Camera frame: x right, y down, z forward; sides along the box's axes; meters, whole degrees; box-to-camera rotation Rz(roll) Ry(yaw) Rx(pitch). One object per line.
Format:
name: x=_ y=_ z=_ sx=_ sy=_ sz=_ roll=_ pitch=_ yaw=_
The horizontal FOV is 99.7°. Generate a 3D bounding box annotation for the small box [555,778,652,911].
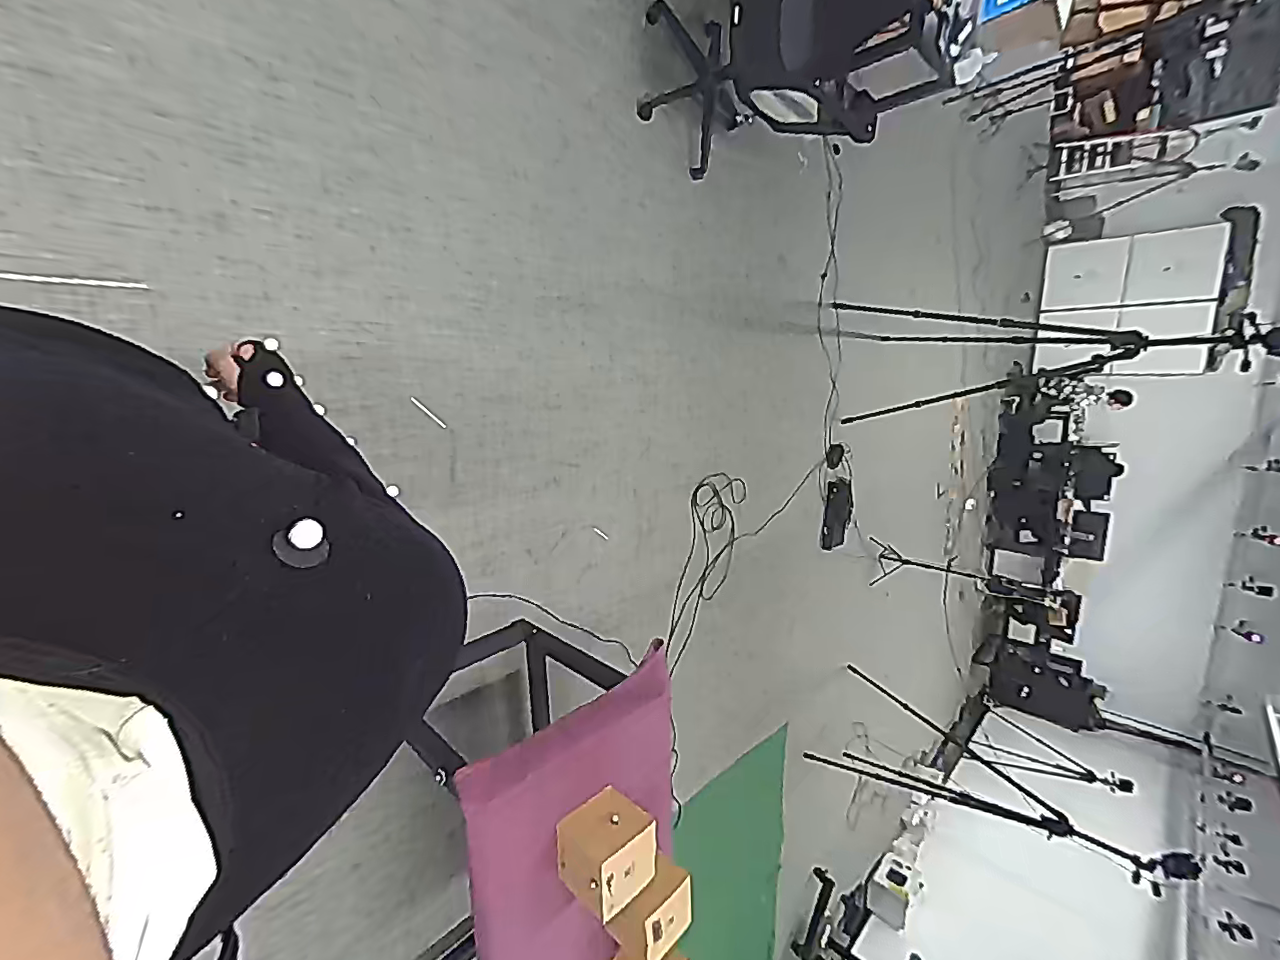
small box: x=-0.090 y=0.878 z=1.324 sx=0.179 sy=0.176 sz=0.168 roll=-12 pitch=106 yaw=-44

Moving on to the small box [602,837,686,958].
small box: x=0.007 y=1.116 z=1.471 sx=0.179 sy=0.176 sz=0.168 roll=-14 pitch=108 yaw=-44

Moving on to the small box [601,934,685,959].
small box: x=0.010 y=1.395 z=1.529 sx=0.179 sy=0.176 sz=0.168 roll=-14 pitch=107 yaw=-43
